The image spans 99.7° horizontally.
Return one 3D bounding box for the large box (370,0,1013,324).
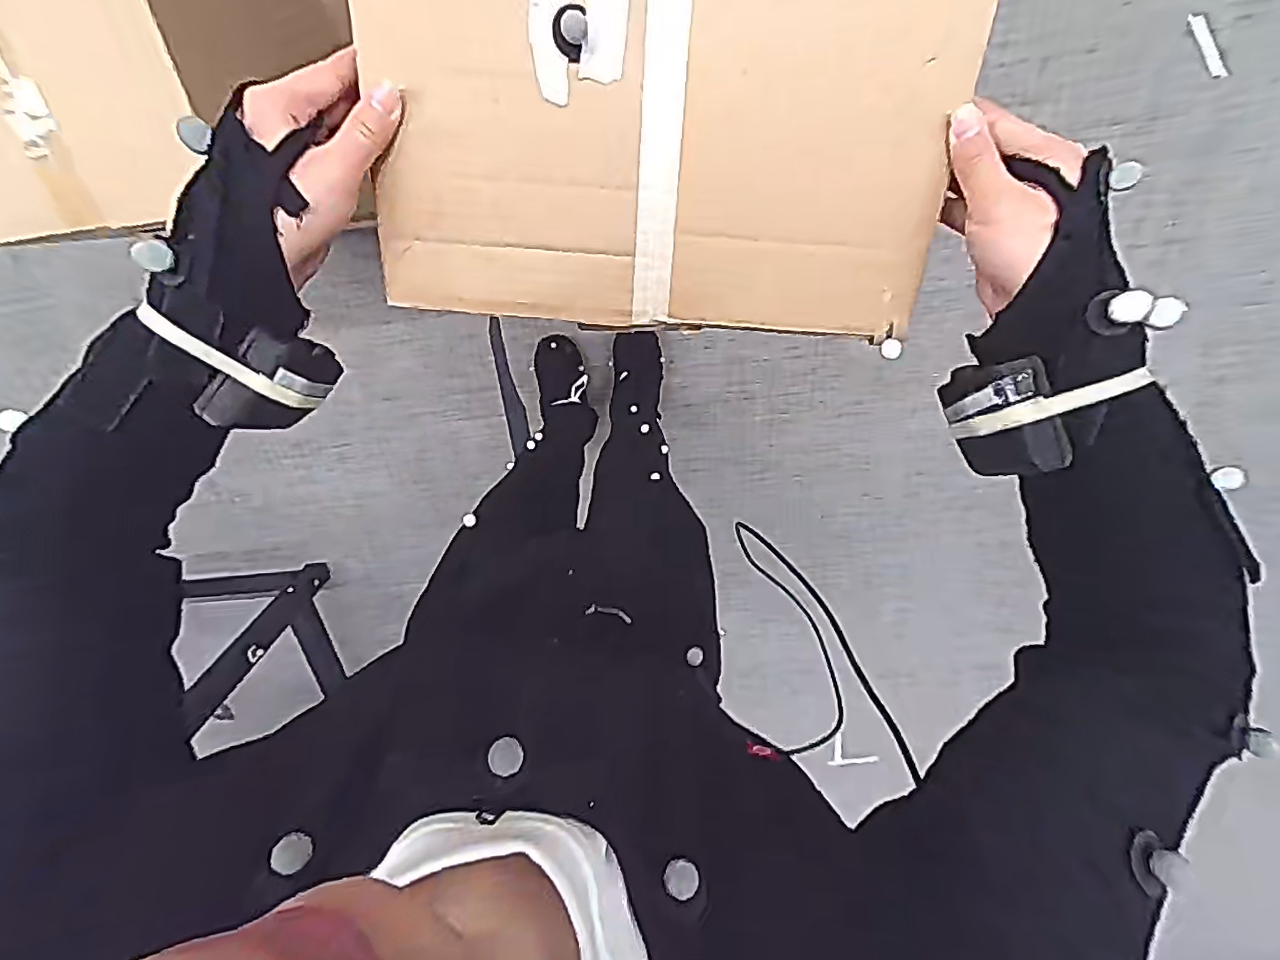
[{"bbox_3d":[0.027,-0.343,0.365,0.320,0.320,0.408,3,116,0],"label":"large box"}]
